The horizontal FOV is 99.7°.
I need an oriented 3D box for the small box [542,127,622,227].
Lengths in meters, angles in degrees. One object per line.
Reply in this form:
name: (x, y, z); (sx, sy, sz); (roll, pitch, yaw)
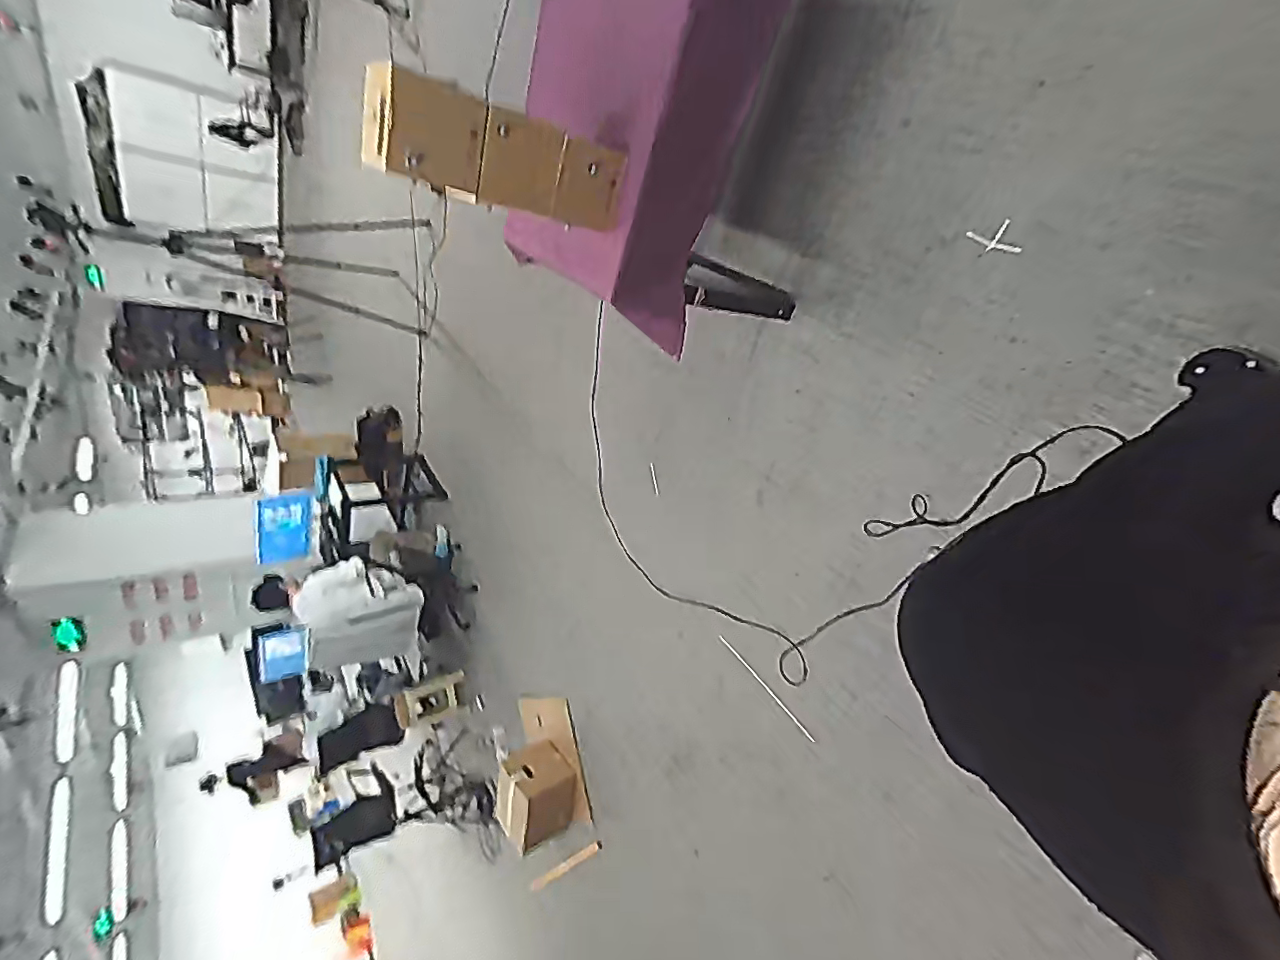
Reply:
small box: (-0.165, -0.687, 1.221); (0.179, 0.176, 0.168); (41, 124, 39)

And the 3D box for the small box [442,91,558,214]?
small box: (-0.289, -0.669, 1.118); (0.168, 0.176, 0.179); (39, 121, 39)
